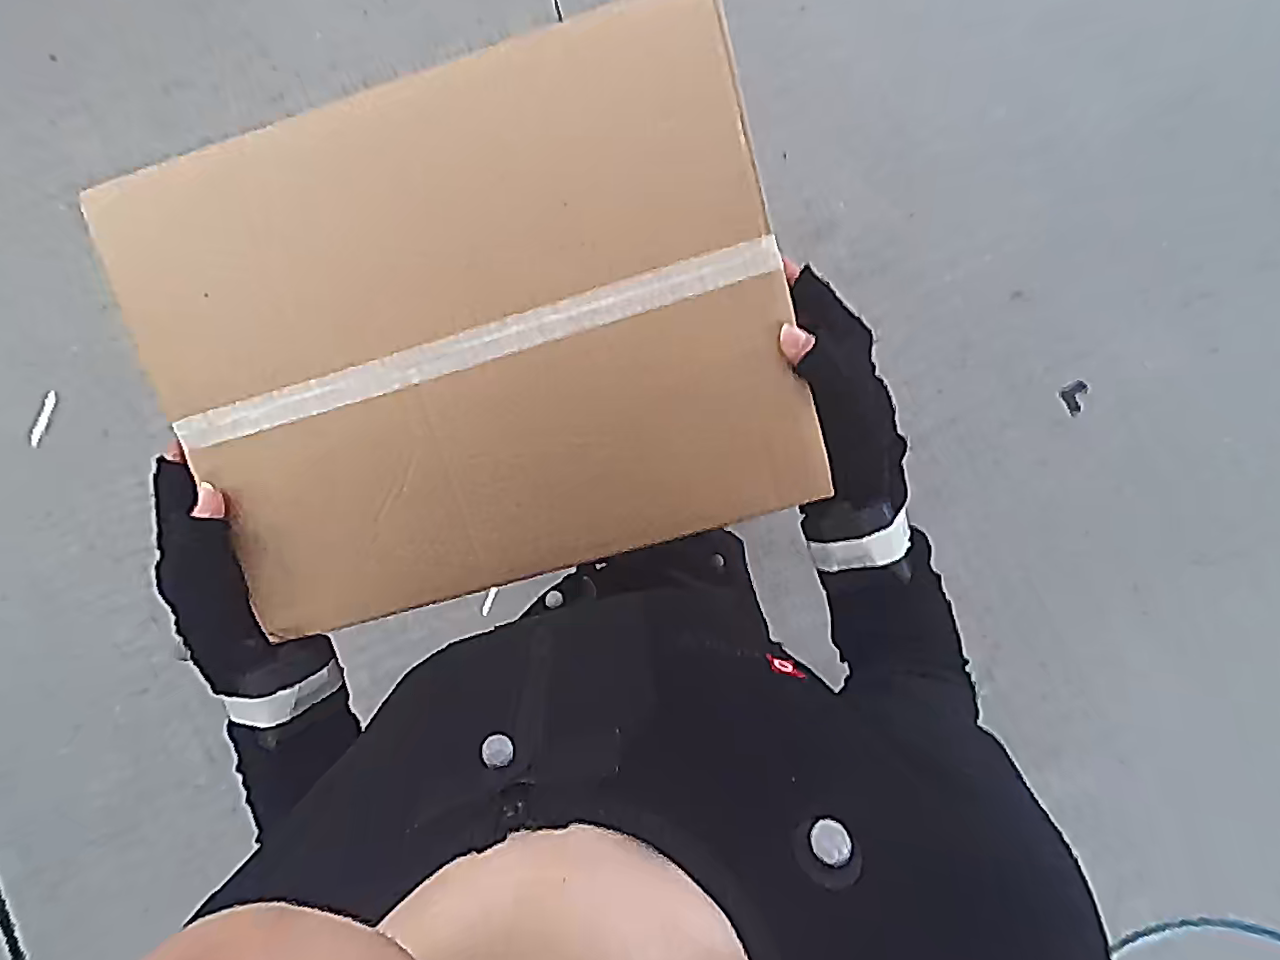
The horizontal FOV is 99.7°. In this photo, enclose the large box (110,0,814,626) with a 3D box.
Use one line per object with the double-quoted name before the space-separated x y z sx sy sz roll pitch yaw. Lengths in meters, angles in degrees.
"large box" -0.107 -0.117 0.503 0.408 0.320 0.320 -16 99 5
